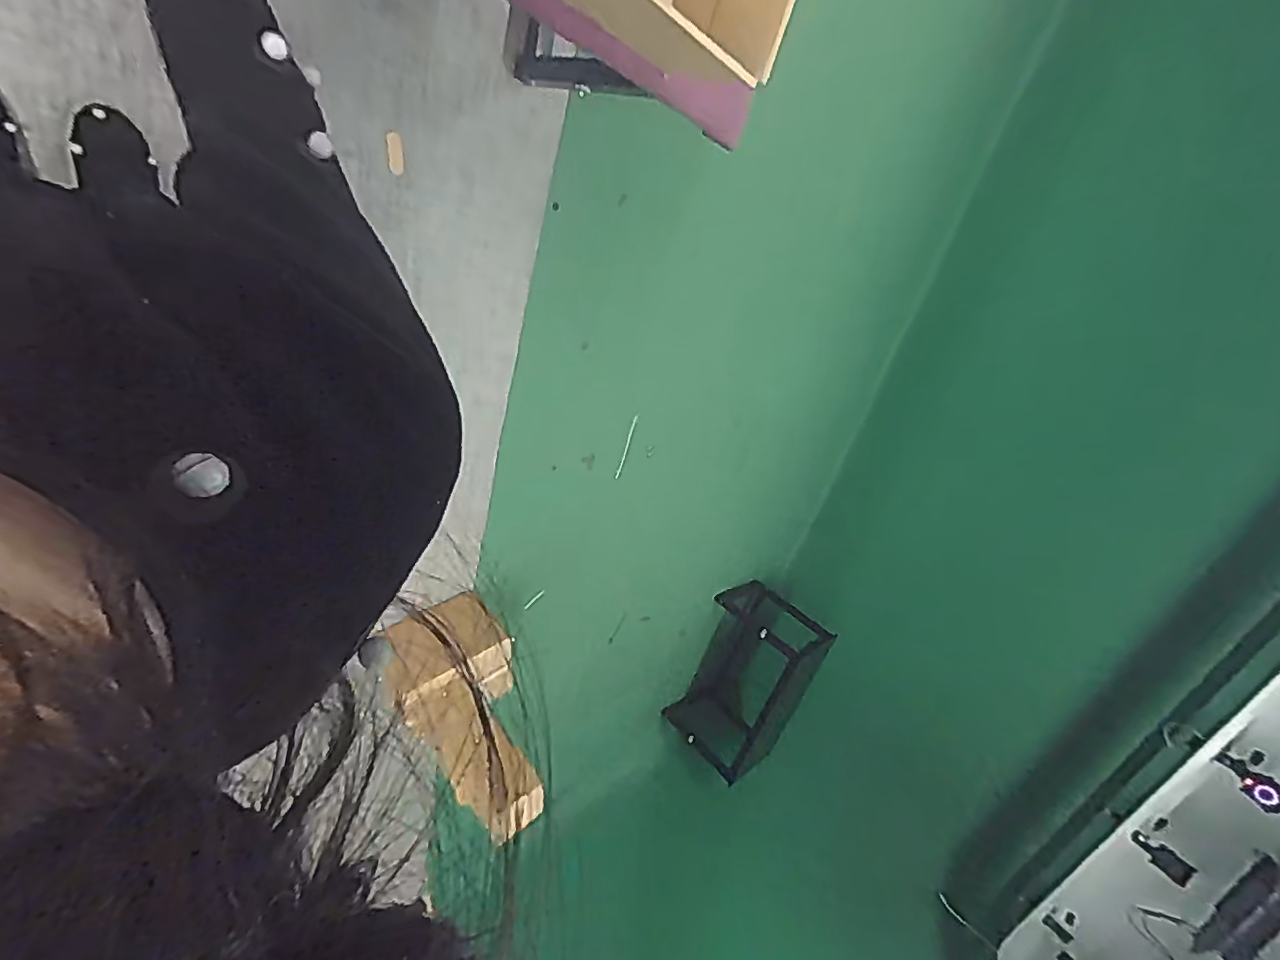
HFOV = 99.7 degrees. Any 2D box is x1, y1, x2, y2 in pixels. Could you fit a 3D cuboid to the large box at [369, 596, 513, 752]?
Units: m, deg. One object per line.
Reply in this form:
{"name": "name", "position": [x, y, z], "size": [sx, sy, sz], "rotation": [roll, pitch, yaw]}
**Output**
{"name": "large box", "position": [-0.740, 0.713, 2.042], "size": [0.408, 0.320, 0.320], "rotation": [-24, 135, -38]}

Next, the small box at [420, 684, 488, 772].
{"name": "small box", "position": [-0.636, 0.837, 1.839], "size": [0.179, 0.176, 0.168], "rotation": [-18, 131, -40]}

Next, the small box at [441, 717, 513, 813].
{"name": "small box", "position": [-0.525, 0.912, 1.743], "size": [0.179, 0.176, 0.168], "rotation": [-24, 134, -38]}

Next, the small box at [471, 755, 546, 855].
{"name": "small box", "position": [-0.406, 0.983, 1.656], "size": [0.168, 0.176, 0.179], "rotation": [-21, 133, -38]}
